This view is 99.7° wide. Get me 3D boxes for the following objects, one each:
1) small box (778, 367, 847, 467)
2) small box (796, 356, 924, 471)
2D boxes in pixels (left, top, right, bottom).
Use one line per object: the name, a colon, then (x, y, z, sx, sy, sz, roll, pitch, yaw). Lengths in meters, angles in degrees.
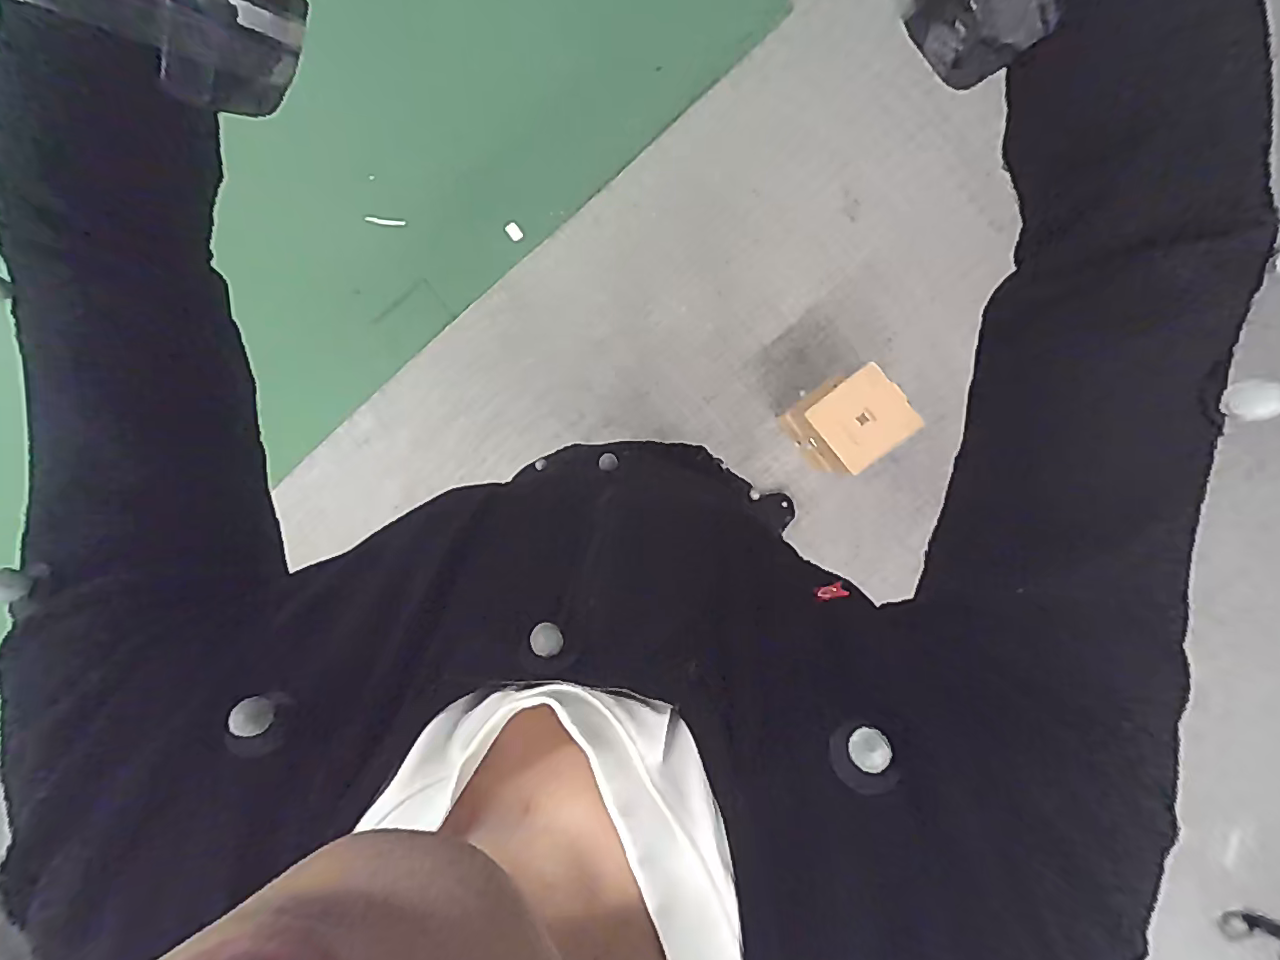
small box: (0.463, -0.149, 1.327, 0.168, 0.176, 0.179, -38, 87, 6)
small box: (0.461, -0.137, 1.166, 0.179, 0.176, 0.168, -39, 86, 7)
